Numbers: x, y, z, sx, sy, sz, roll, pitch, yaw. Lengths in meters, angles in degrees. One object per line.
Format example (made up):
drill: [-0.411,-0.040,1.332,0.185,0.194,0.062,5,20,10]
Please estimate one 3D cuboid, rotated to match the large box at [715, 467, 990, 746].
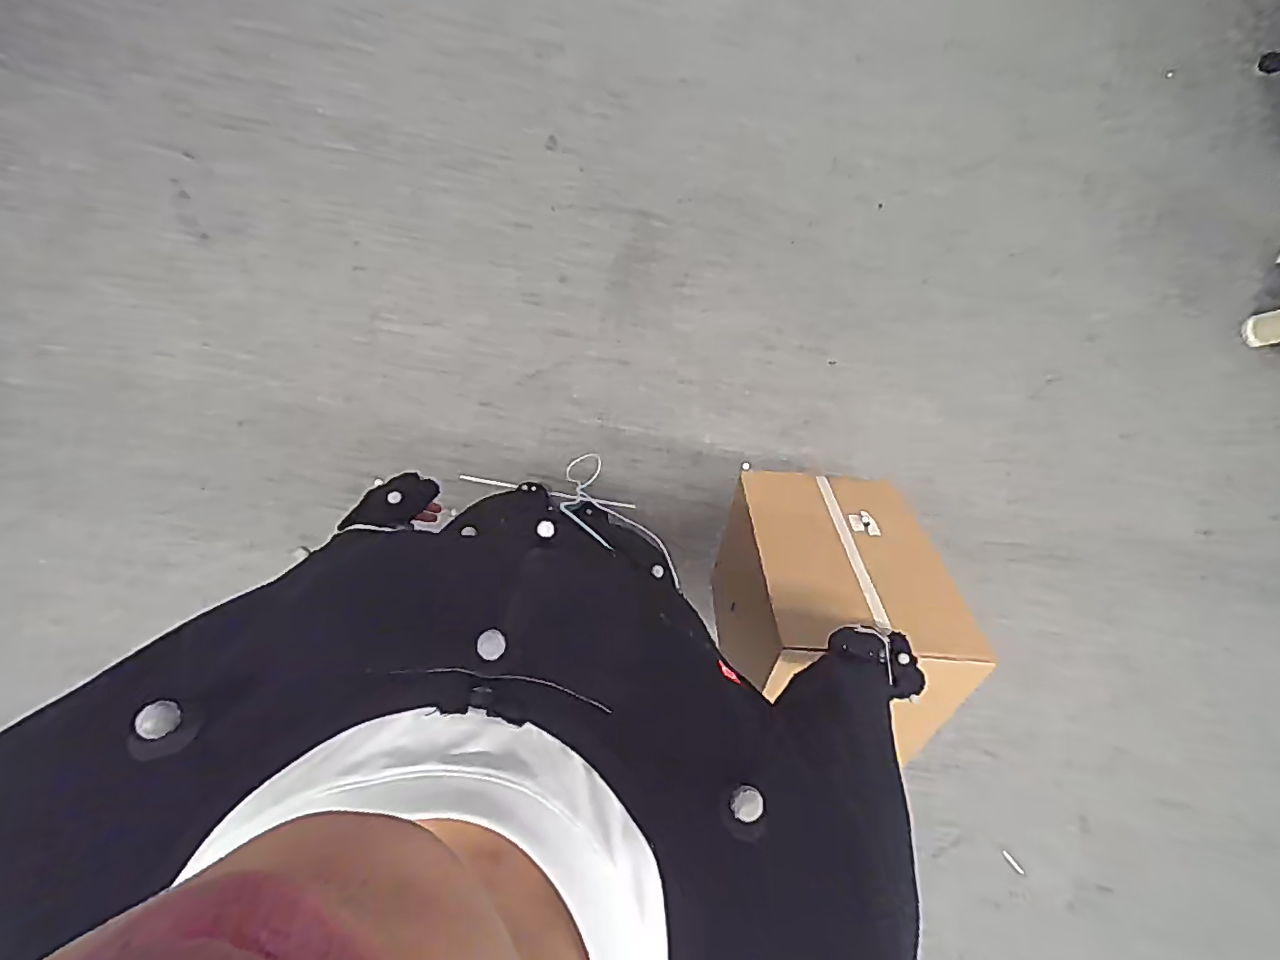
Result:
large box: [0.335,0.226,1.006,0.320,0.408,0.320,6,128,-4]
